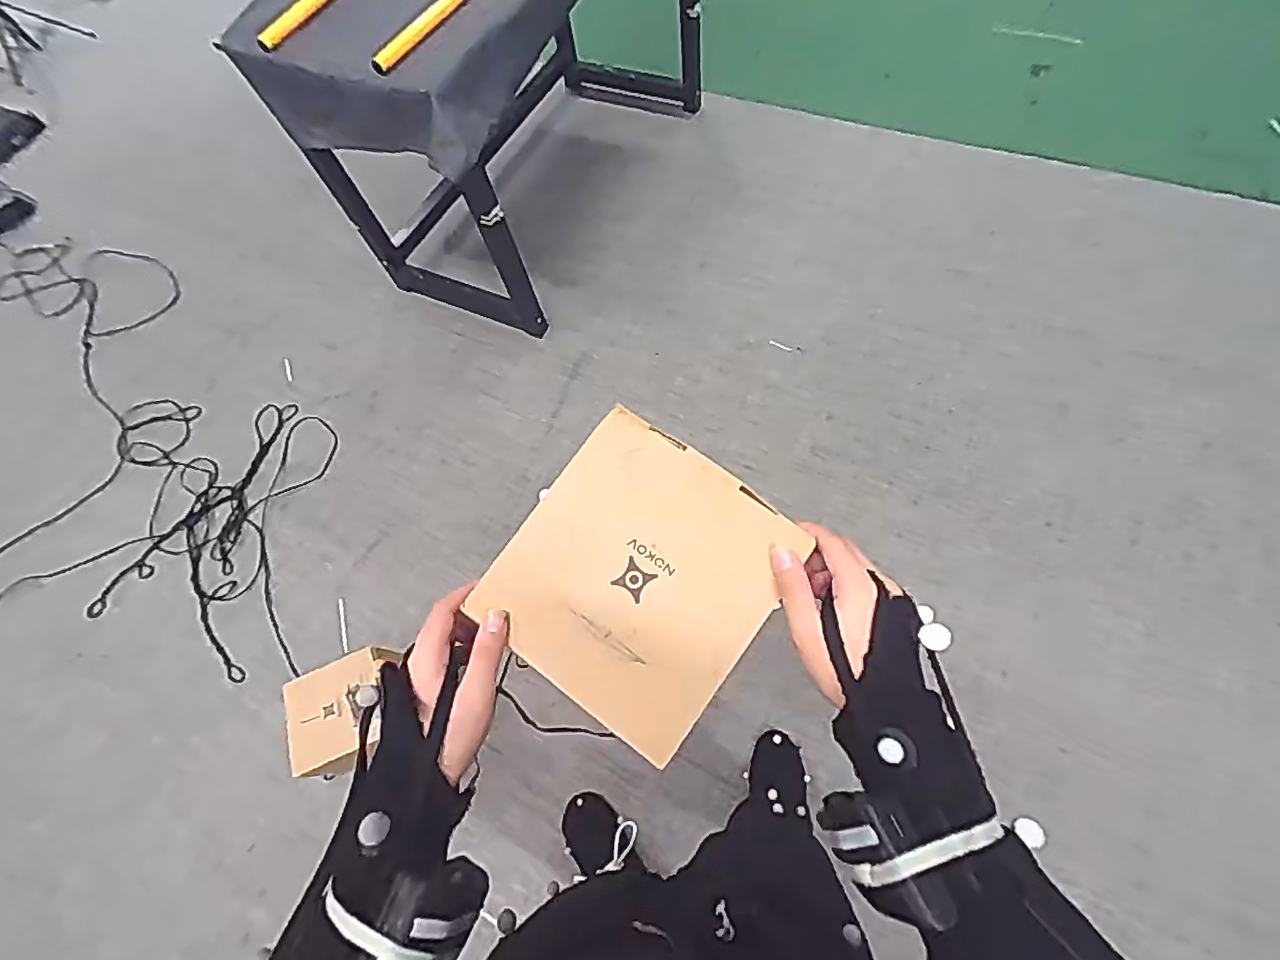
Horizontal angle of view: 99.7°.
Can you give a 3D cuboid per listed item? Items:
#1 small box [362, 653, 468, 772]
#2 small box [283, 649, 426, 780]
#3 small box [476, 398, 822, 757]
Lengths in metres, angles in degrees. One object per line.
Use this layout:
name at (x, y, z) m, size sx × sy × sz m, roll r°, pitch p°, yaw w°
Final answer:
small box at (-0.499, 0.499, 1.170) m, size 0.168 × 0.176 × 0.179 m, roll -28°, pitch 65°, yaw -6°
small box at (-0.526, 0.438, 1.019) m, size 0.179 × 0.176 × 0.168 m, roll -23°, pitch 64°, yaw -3°
small box at (0.010, 0.070, 0.429) m, size 0.168 × 0.176 × 0.179 m, roll 34°, pitch 84°, yaw 11°
